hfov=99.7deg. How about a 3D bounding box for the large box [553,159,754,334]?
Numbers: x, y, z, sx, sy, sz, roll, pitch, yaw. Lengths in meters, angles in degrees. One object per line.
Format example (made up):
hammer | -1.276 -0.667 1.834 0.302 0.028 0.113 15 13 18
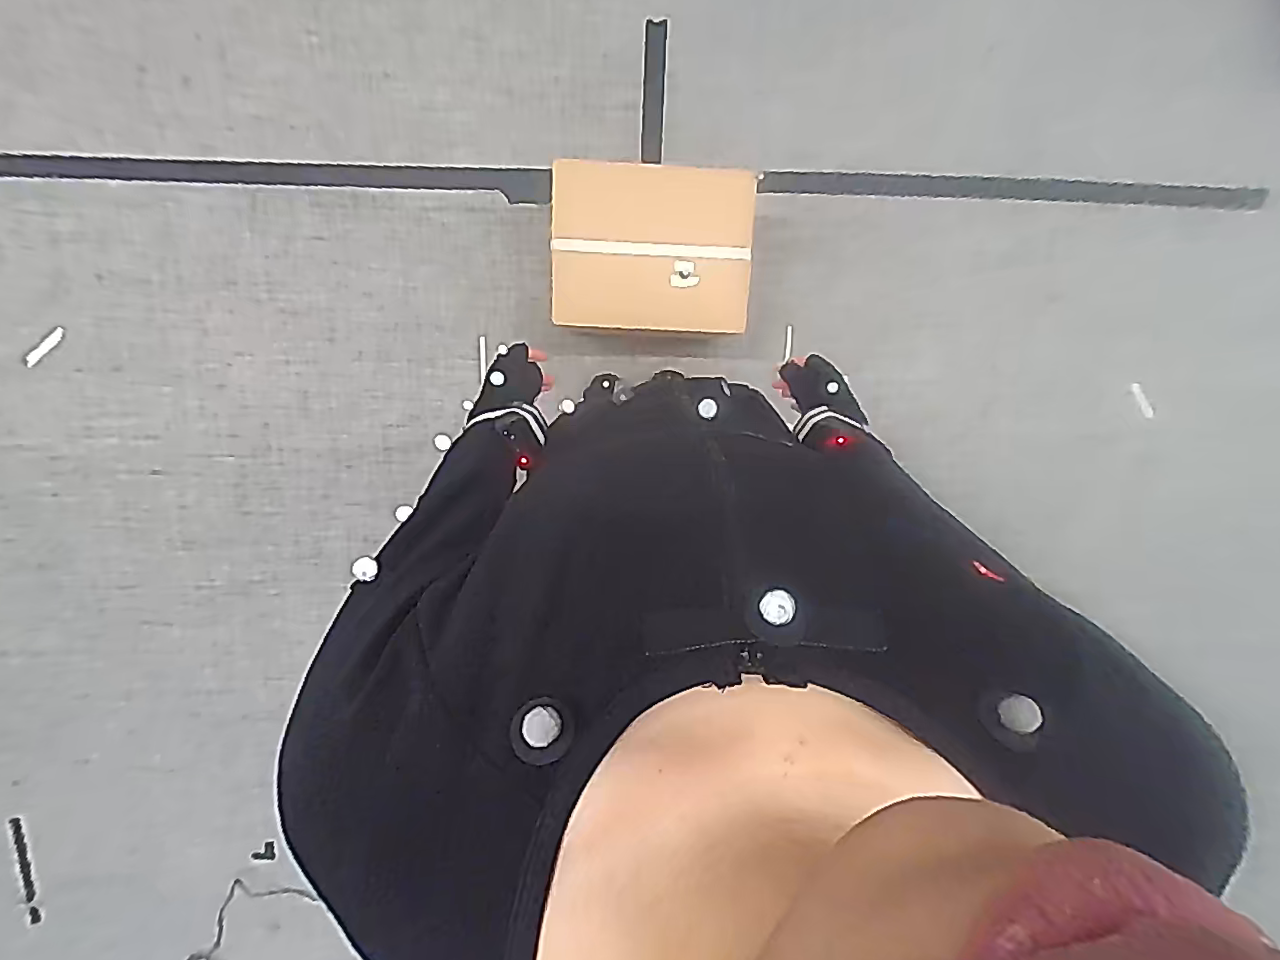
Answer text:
large box | 0.016 -0.504 1.237 0.408 0.320 0.320 1 103 -4
